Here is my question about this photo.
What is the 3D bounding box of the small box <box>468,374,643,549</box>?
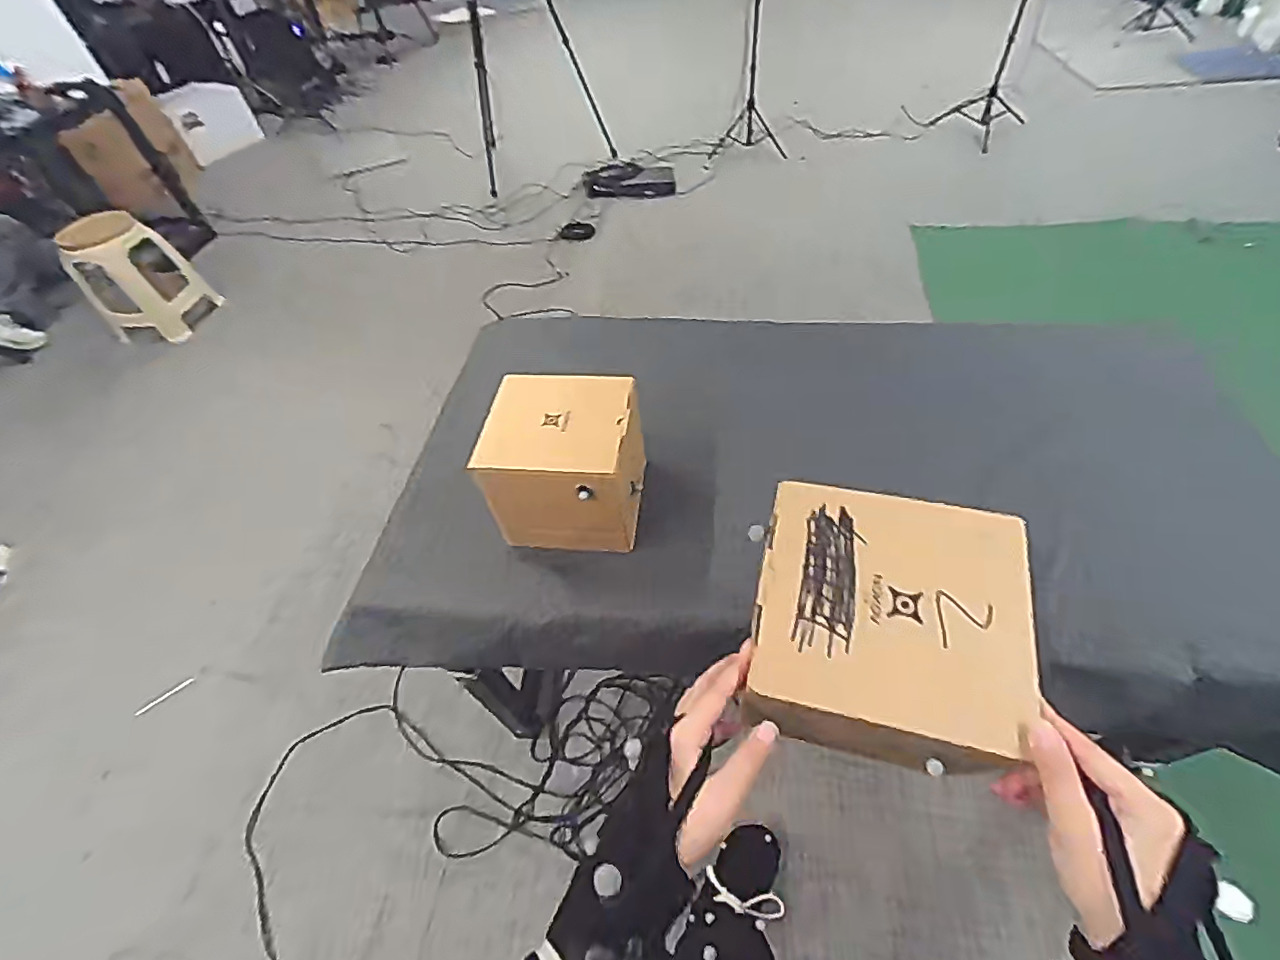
[{"bbox_3d":[-0.096,-0.022,0.716,0.179,0.176,0.168,3,51,7],"label":"small box"}]
